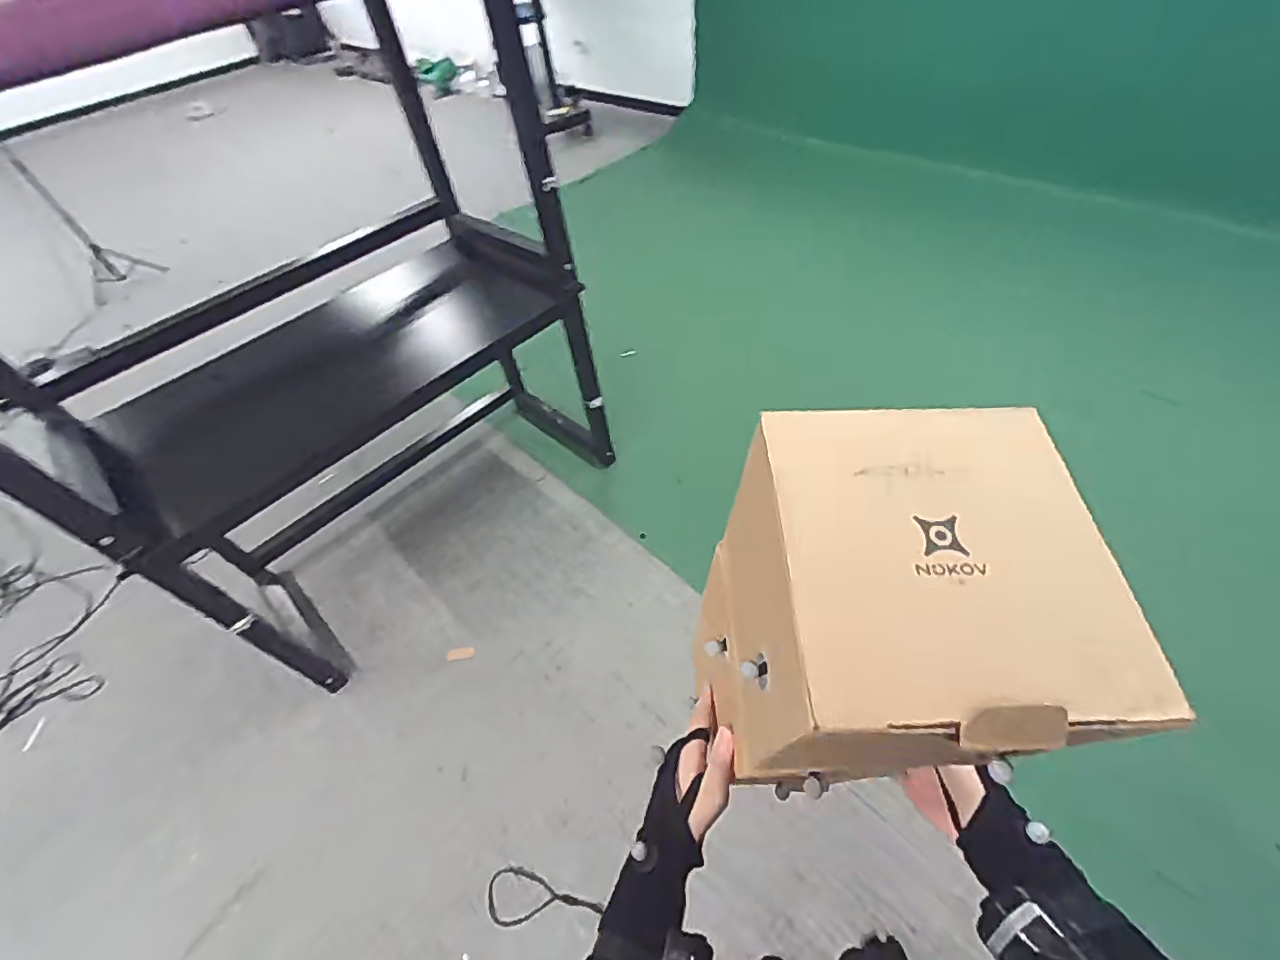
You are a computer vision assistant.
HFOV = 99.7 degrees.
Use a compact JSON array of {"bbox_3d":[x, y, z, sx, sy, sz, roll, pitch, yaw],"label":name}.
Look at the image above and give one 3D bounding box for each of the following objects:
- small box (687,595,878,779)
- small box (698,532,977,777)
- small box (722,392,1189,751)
[{"bbox_3d":[0.144,0.239,0.614,0.168,0.176,0.179,-1,59,-1],"label":"small box"},{"bbox_3d":[0.146,0.155,0.473,0.168,0.176,0.179,-3,57,-2],"label":"small box"},{"bbox_3d":[0.148,0.066,0.337,0.168,0.176,0.179,-1,57,-1],"label":"small box"}]
